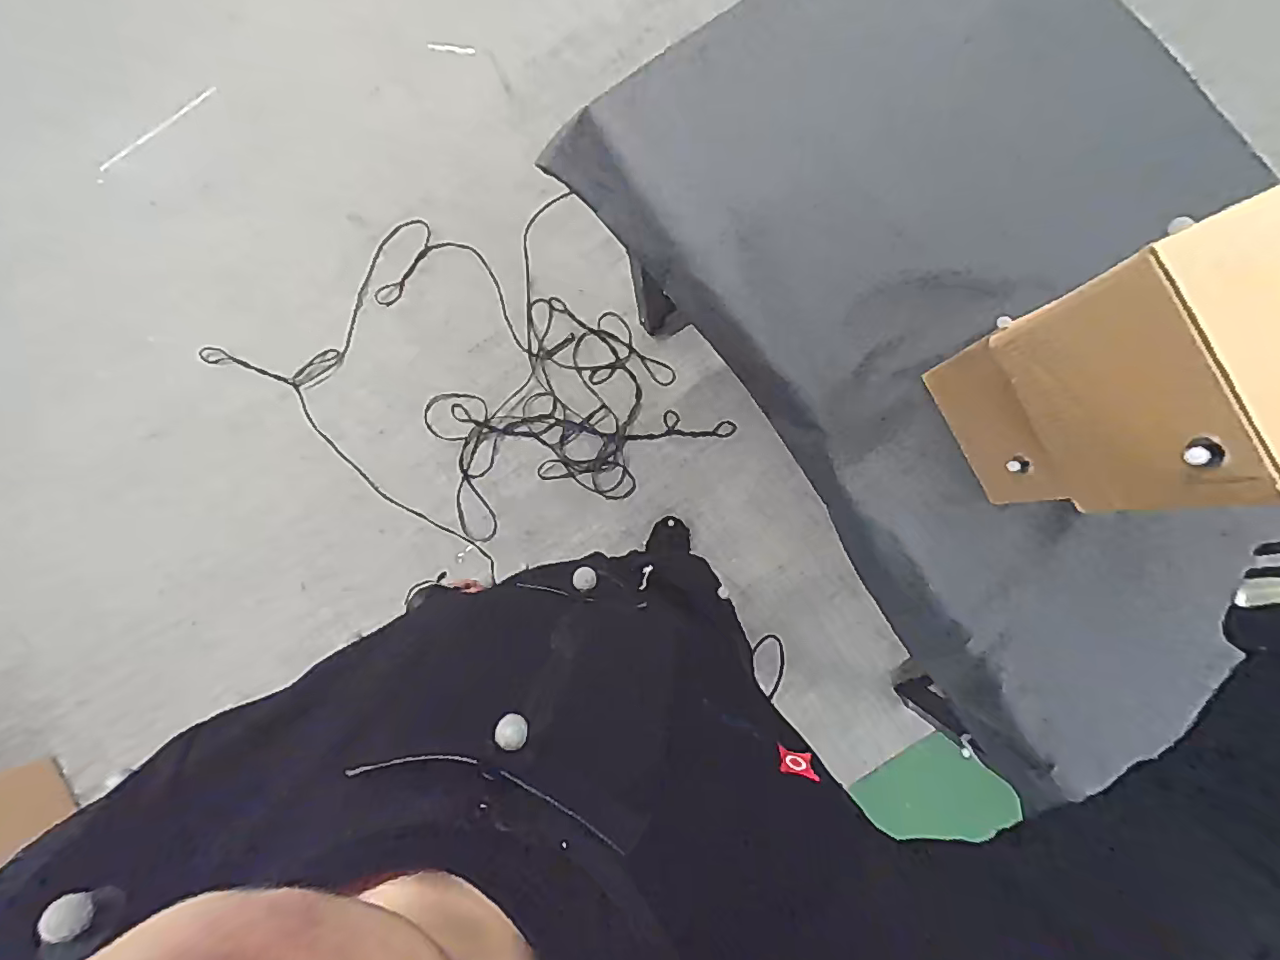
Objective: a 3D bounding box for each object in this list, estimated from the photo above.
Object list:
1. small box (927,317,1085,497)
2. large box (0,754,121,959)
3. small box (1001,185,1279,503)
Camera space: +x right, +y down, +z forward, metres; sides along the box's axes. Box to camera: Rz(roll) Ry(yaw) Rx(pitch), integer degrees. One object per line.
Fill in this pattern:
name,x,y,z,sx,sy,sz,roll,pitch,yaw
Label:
small box,0.446,-0.091,0.564,0.168,0.176,0.179,-26,84,0
large box,-1.567,0.952,1.261,0.320,0.320,0.408,-35,83,-1
small box,0.422,-0.092,0.403,0.168,0.176,0.179,-25,86,0
